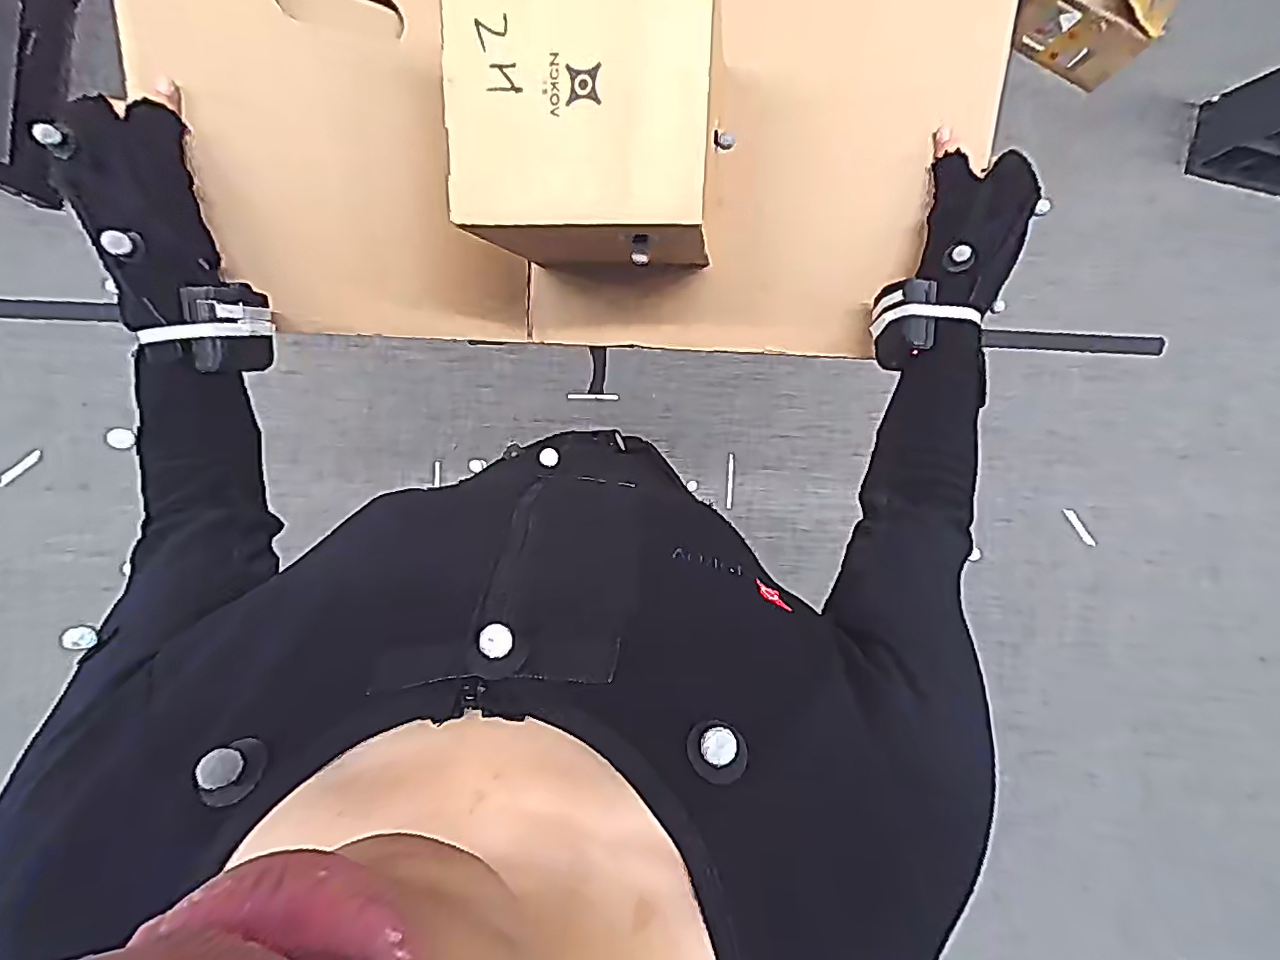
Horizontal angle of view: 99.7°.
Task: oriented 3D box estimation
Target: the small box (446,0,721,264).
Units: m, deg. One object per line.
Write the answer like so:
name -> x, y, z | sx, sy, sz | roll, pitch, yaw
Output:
small box -> -0.029, -0.272, 0.426 | 0.179, 0.176, 0.168 | 4, 104, 9
